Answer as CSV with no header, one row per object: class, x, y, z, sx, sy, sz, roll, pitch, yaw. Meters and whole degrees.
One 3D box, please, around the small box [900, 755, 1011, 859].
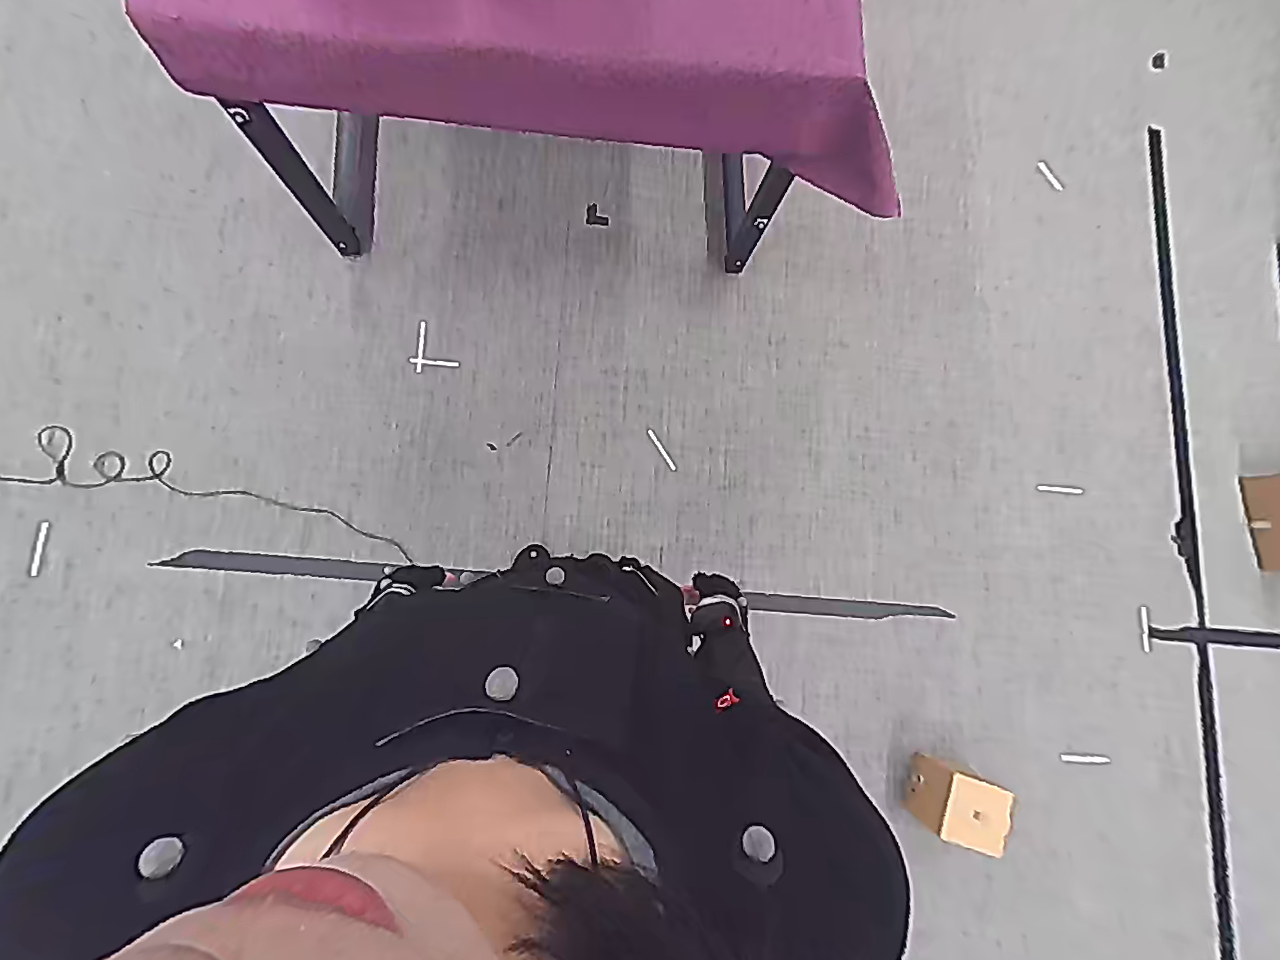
small box,0.846,0.873,1.461,0.179,0.176,0.168,20,79,-2
